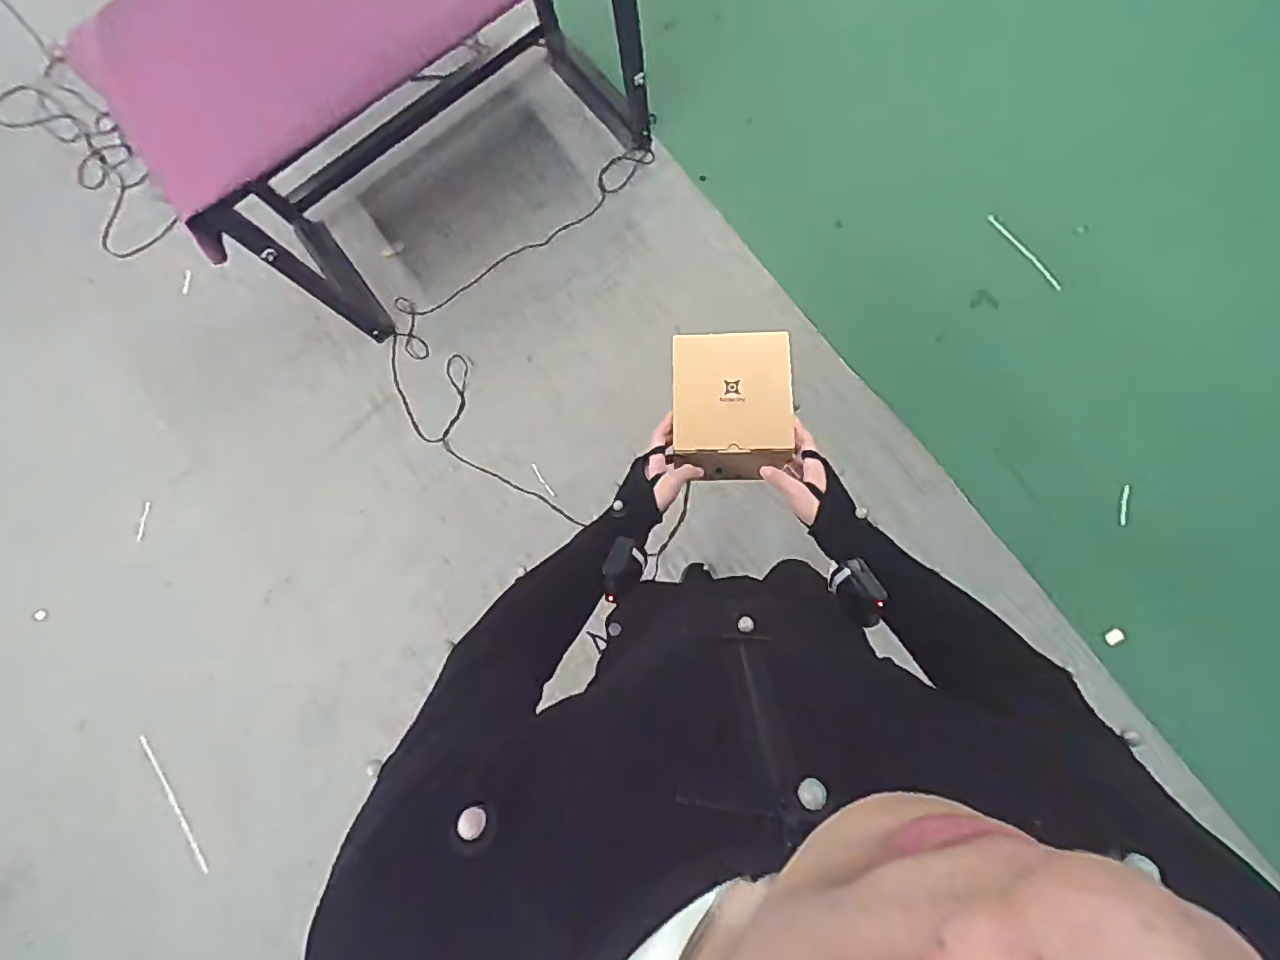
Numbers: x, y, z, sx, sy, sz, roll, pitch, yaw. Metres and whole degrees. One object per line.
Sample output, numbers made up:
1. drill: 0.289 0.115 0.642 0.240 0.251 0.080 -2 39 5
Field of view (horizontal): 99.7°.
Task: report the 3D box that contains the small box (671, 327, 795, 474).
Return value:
1. small box: 0.131 -0.113 0.819 0.168 0.176 0.179 -1 78 4
